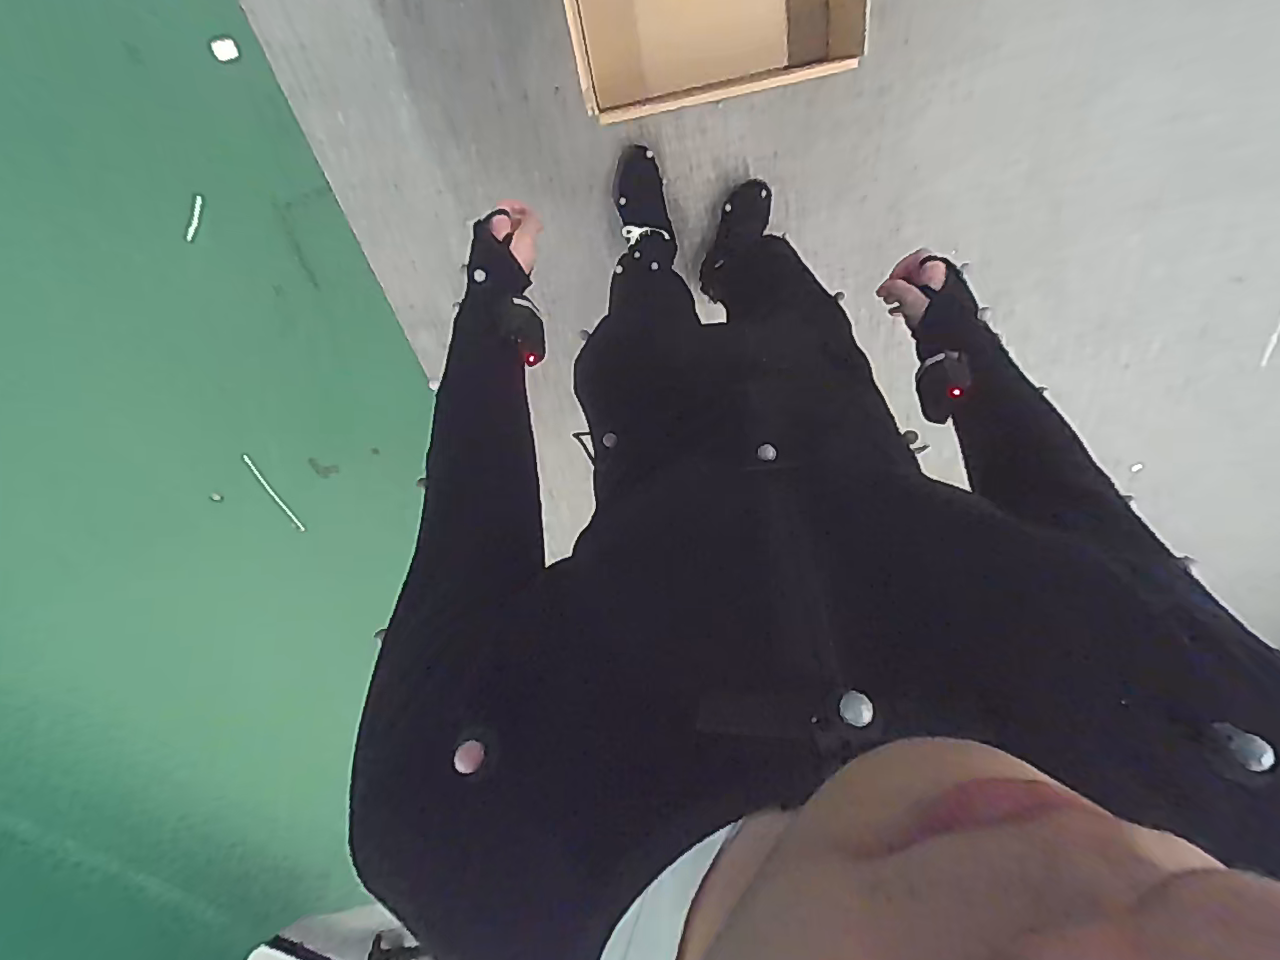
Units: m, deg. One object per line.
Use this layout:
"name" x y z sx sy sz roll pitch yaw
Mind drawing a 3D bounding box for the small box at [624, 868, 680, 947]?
"small box" 0.035 1.482 1.885 0.168 0.176 0.179 -13 123 4
